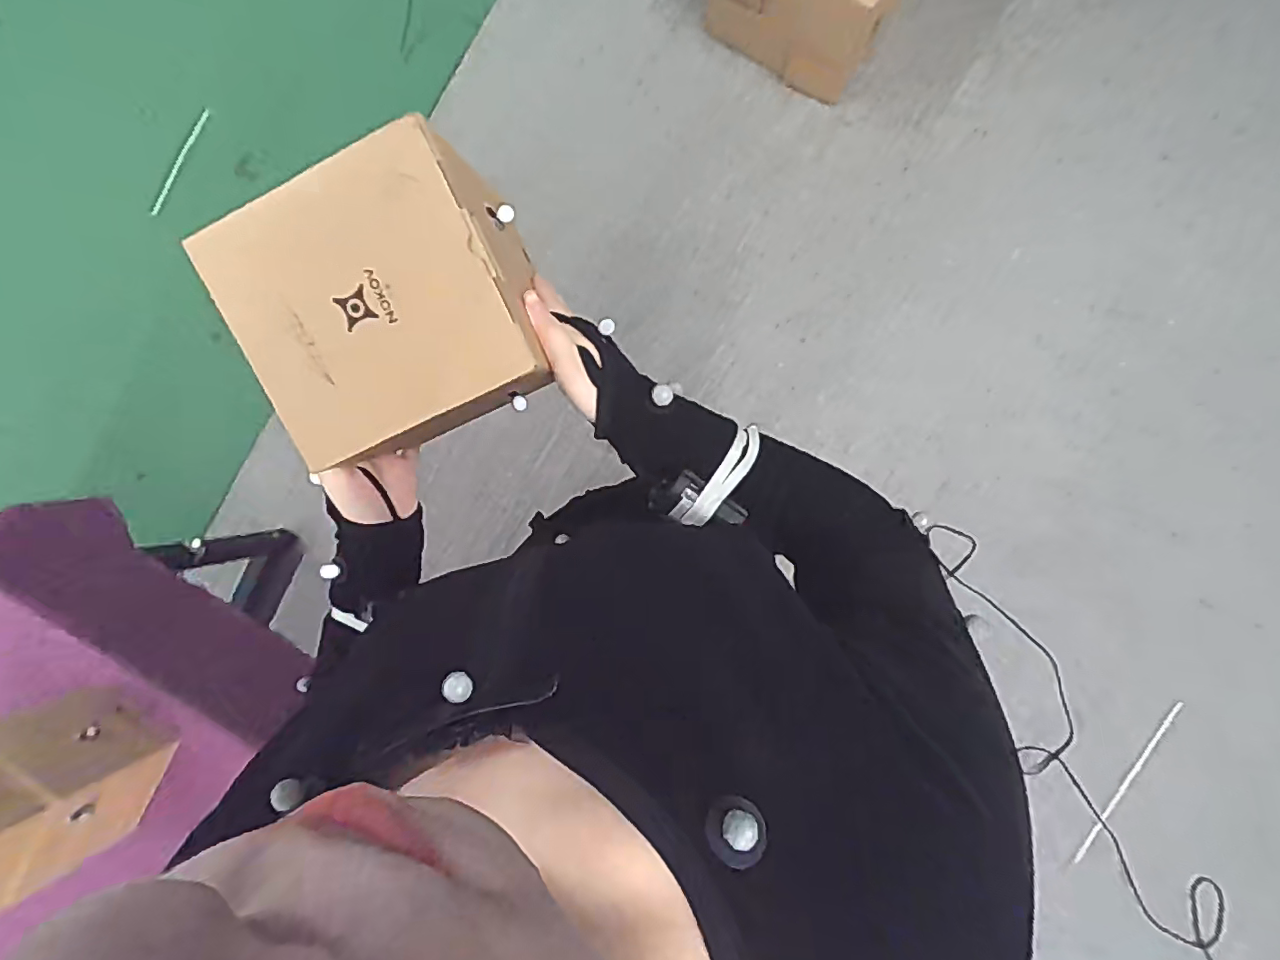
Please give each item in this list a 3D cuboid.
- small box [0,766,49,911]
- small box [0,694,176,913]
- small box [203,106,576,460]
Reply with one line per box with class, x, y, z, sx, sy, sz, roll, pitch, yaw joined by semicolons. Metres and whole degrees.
small box;-0.857;0.451;0.618;0.168;0.176;0.179;29;92;5
small box;-0.833;0.445;0.779;0.168;0.176;0.179;29;94;5
small box;-0.161;-0.134;0.419;0.179;0.176;0.168;-22;99;8
